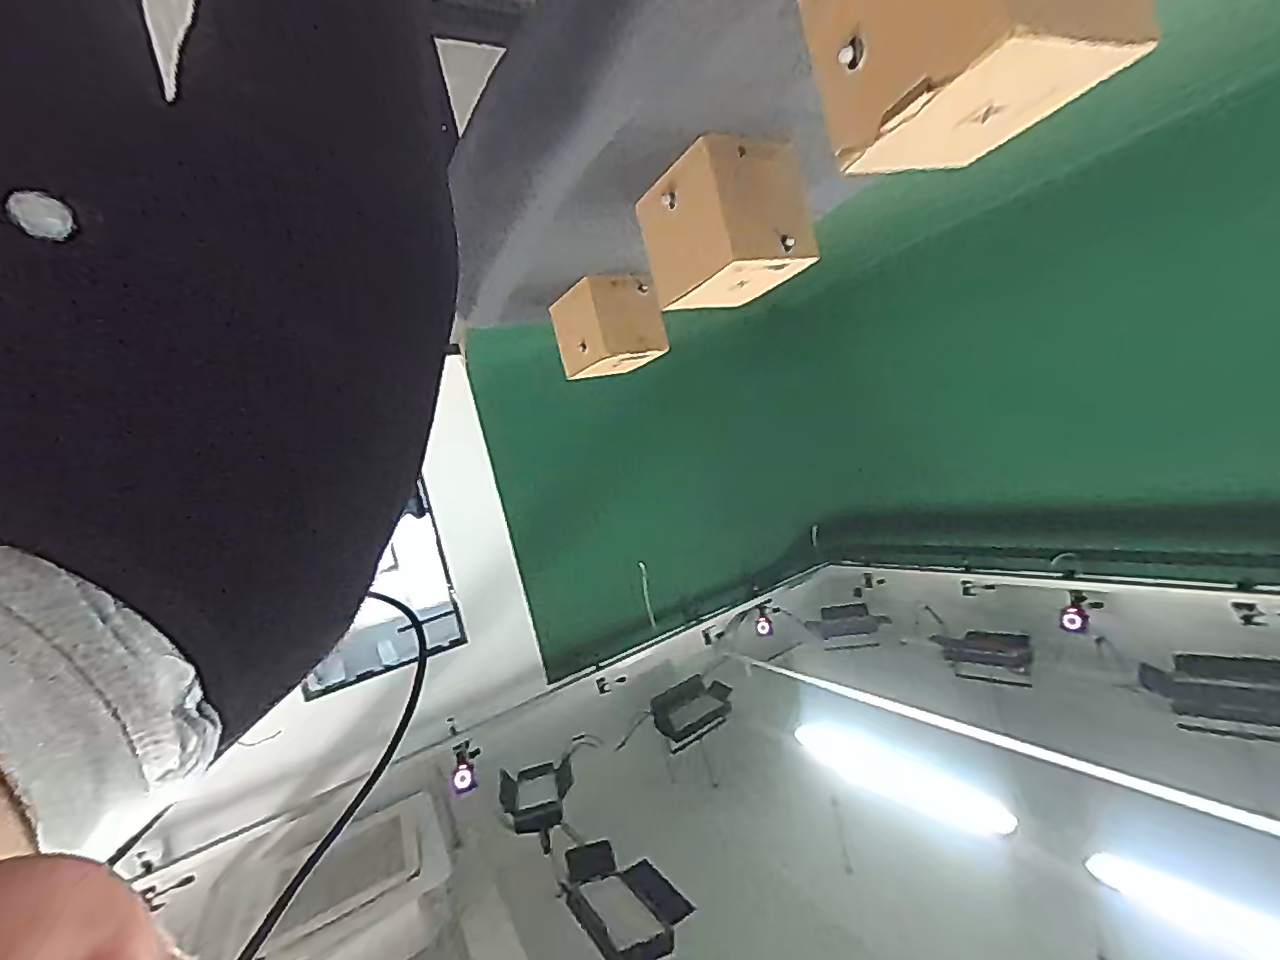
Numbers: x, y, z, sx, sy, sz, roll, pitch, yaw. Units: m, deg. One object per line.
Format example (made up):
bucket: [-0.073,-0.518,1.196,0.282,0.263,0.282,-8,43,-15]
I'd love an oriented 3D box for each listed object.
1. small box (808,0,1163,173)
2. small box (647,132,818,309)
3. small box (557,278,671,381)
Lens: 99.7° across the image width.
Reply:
small box: [0.269,-0.389,0.447,0.179,0.176,0.168,-18,-175,-20]
small box: [0.125,-0.364,0.786,0.168,0.176,0.179,-16,-177,-31]
small box: [-0.063,-0.327,1.173,0.168,0.176,0.179,-16,-177,-35]
